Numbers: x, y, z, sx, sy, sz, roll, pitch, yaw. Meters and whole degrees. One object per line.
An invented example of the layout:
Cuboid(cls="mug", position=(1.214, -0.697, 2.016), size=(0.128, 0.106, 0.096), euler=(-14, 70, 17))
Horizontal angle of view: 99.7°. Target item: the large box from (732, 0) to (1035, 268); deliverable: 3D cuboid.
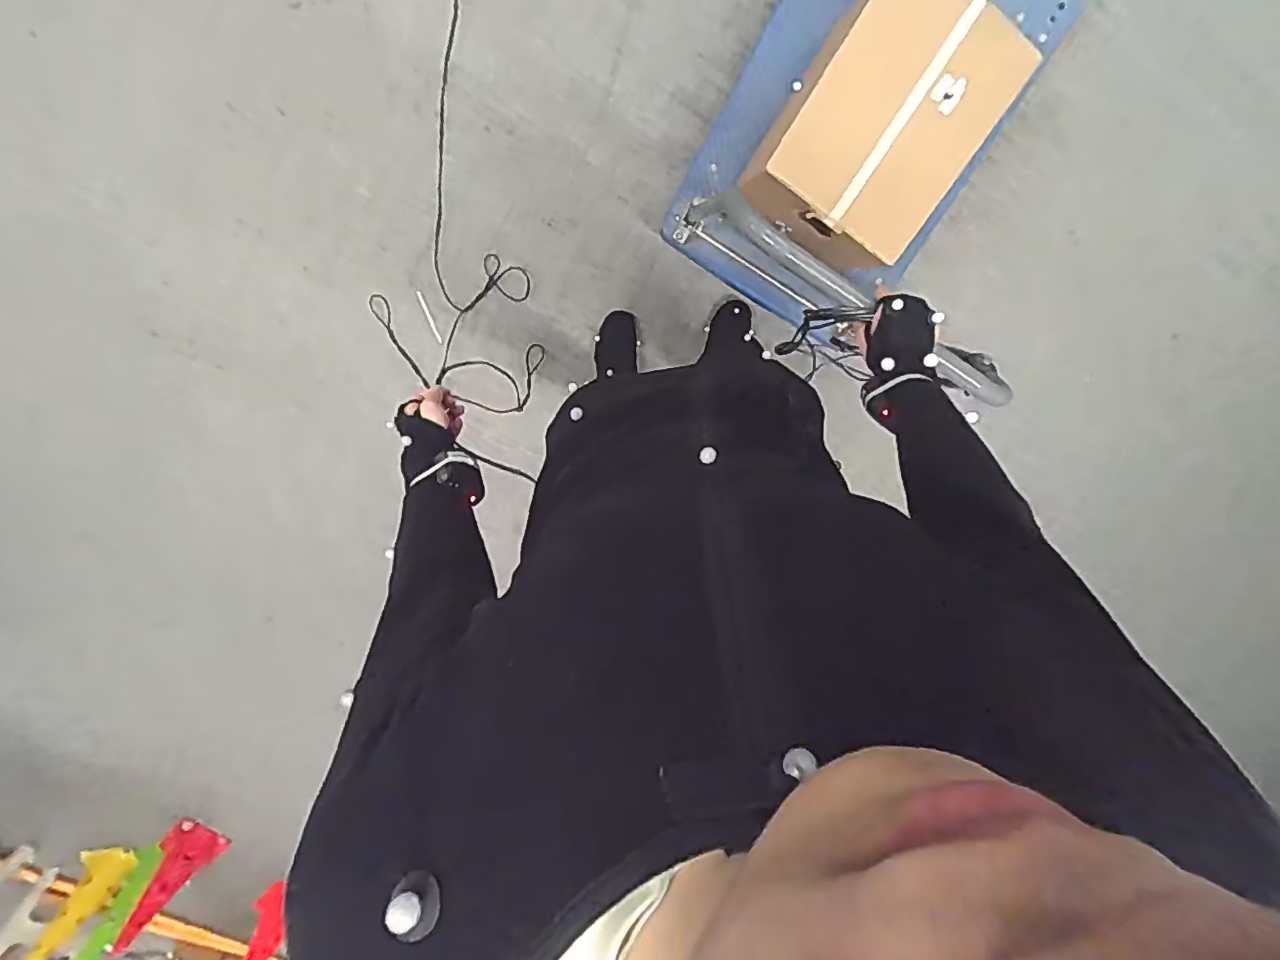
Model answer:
Cuboid(cls="large box", position=(0.442, -0.693, 1.085), size=(0.320, 0.320, 0.408), euler=(30, 105, -14))
